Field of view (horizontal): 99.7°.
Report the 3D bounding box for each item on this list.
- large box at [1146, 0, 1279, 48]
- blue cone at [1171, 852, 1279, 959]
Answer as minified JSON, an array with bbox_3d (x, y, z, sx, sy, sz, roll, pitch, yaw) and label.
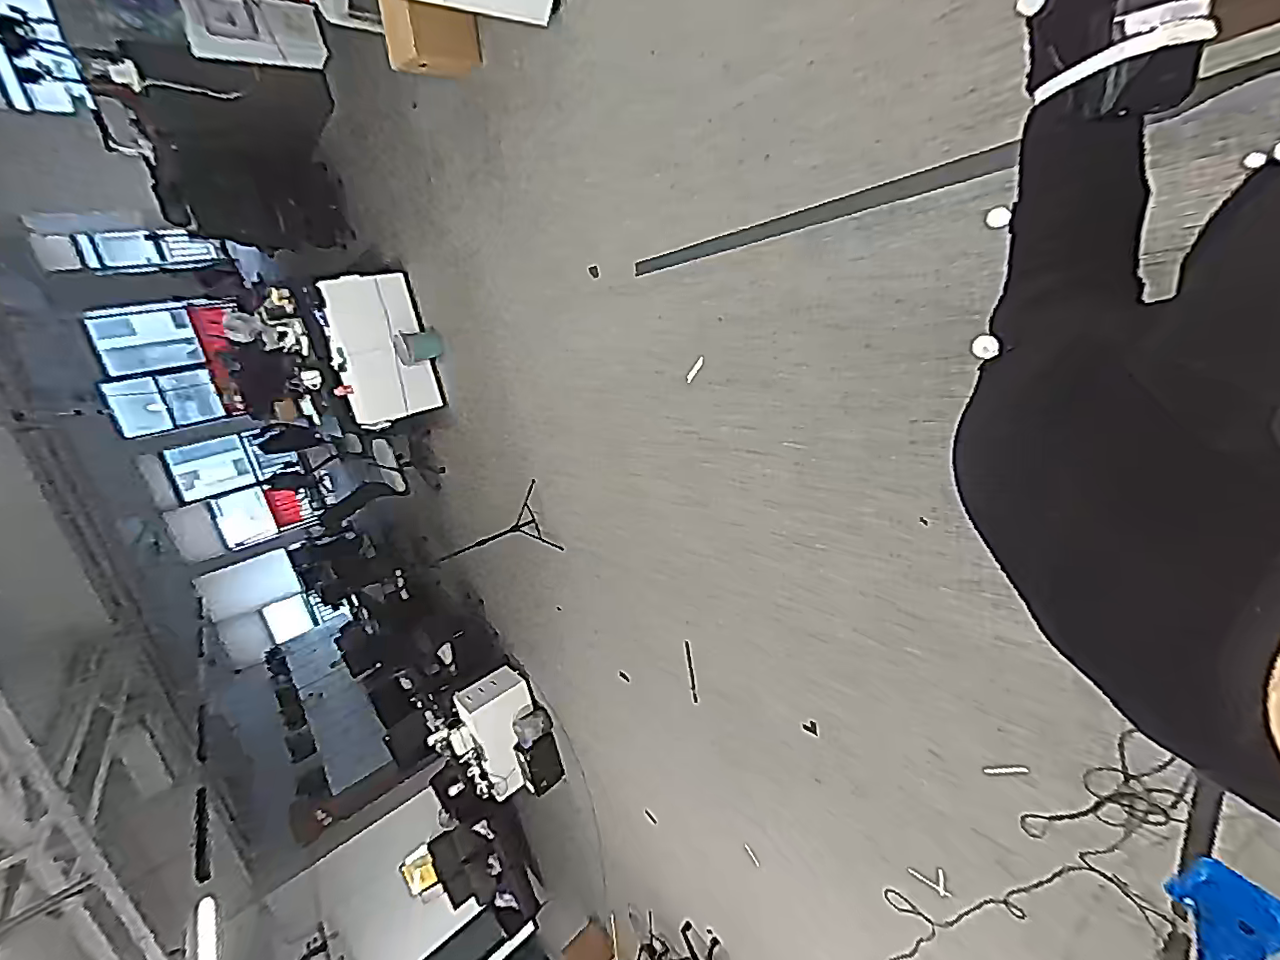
[{"bbox_3d":[0.534,-0.494,0.258,0.408,0.320,0.320,8,119,47],"label":"large box"},{"bbox_3d":[1.333,1.077,1.227,0.193,0.380,0.192,34,134,37],"label":"blue cone"}]
